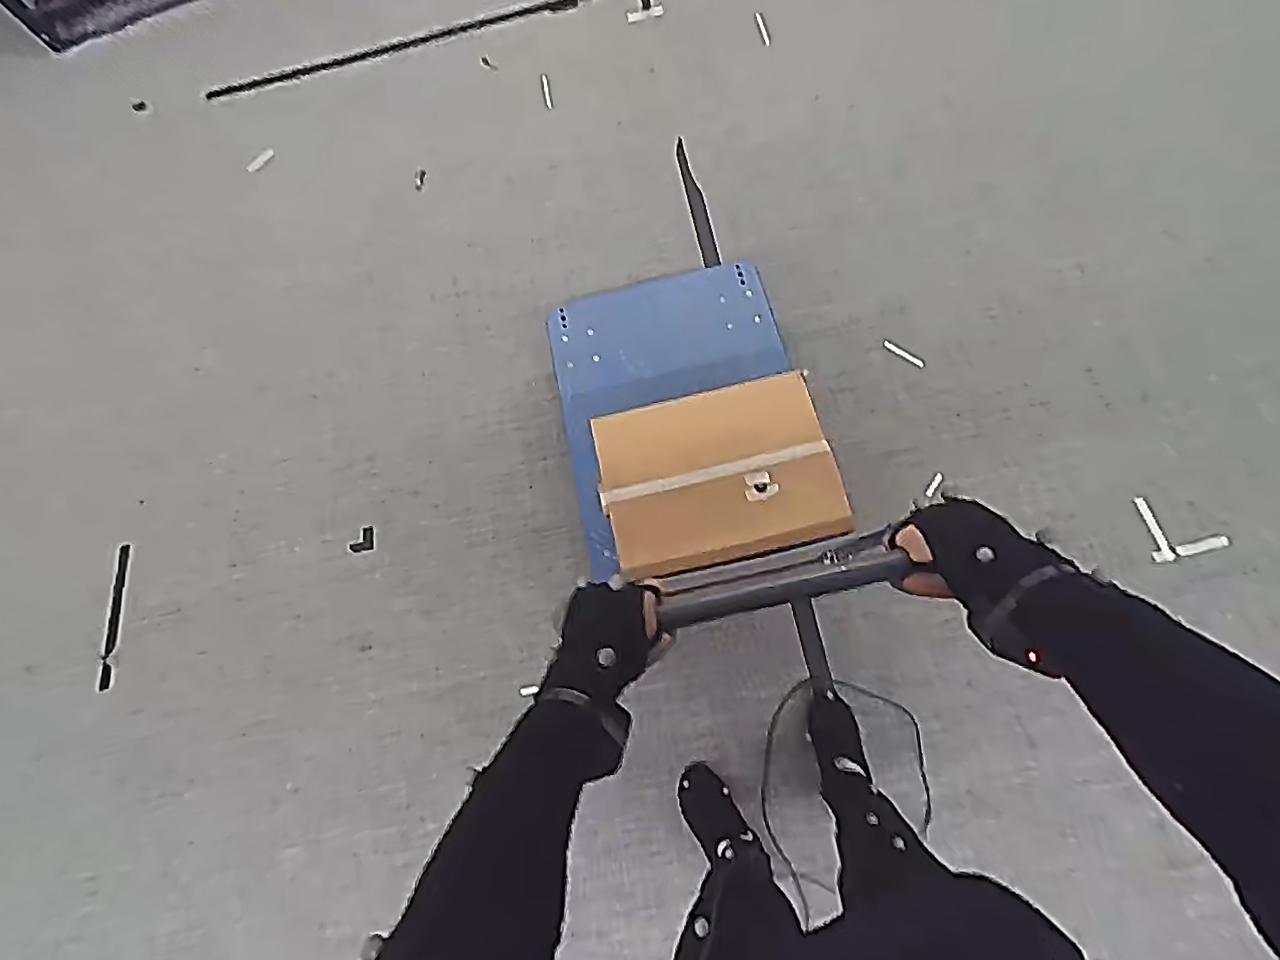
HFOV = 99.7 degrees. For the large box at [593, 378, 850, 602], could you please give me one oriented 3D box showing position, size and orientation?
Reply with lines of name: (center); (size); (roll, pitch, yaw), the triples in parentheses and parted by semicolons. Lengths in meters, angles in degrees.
large box: (0.148, 0.041, 1.113); (0.408, 0.320, 0.320); (-14, 73, 0)
